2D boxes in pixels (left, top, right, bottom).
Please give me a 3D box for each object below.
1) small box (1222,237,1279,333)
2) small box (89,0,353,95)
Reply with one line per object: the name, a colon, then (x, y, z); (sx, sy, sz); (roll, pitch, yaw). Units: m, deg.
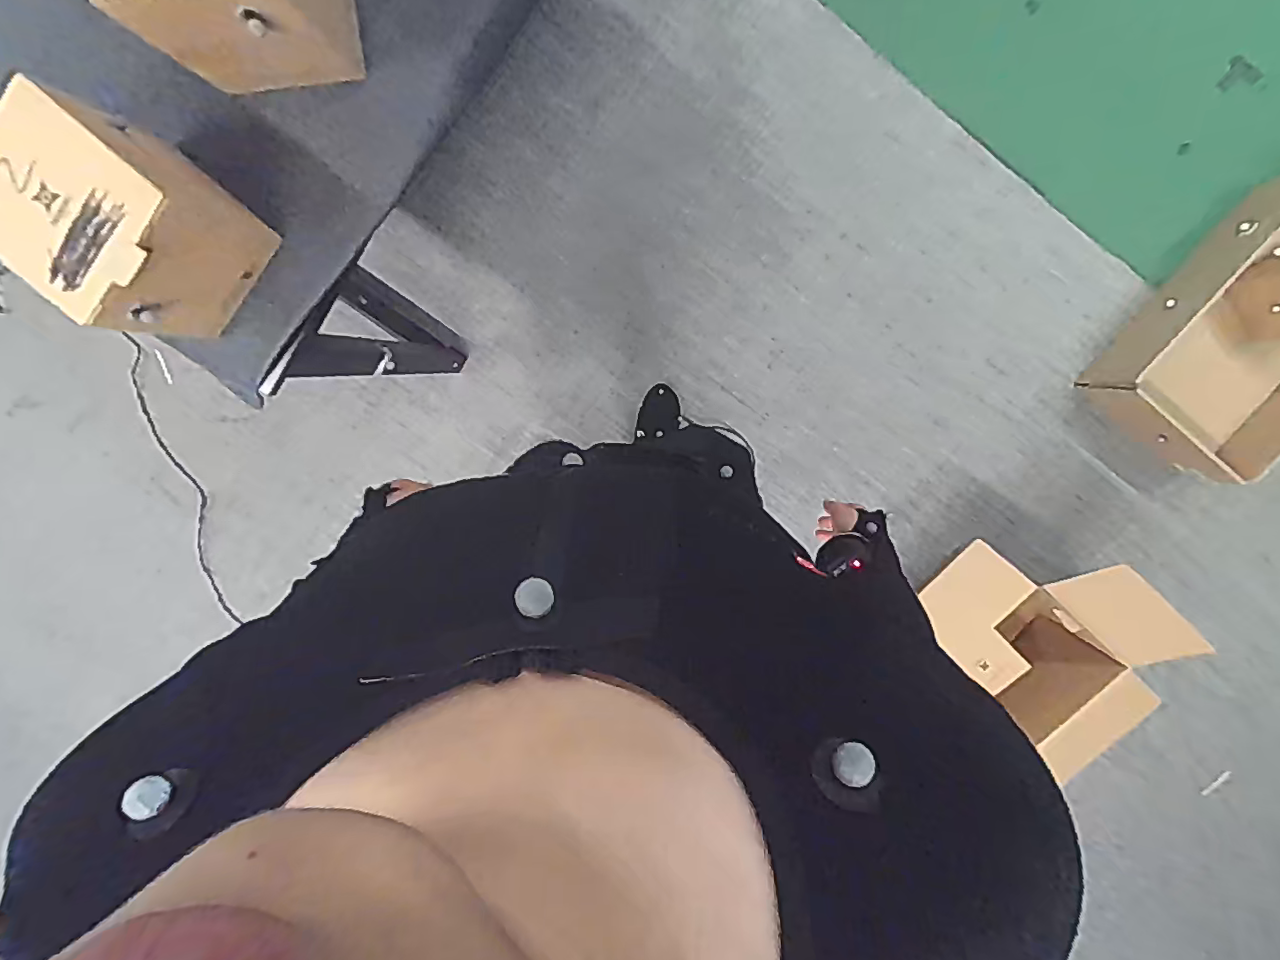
small box: (1.508, -0.449, 1.225); (0.168, 0.176, 0.179); (-37, 99, 9)
small box: (-0.423, -0.533, 0.556); (0.179, 0.176, 0.168); (-5, 100, 3)
